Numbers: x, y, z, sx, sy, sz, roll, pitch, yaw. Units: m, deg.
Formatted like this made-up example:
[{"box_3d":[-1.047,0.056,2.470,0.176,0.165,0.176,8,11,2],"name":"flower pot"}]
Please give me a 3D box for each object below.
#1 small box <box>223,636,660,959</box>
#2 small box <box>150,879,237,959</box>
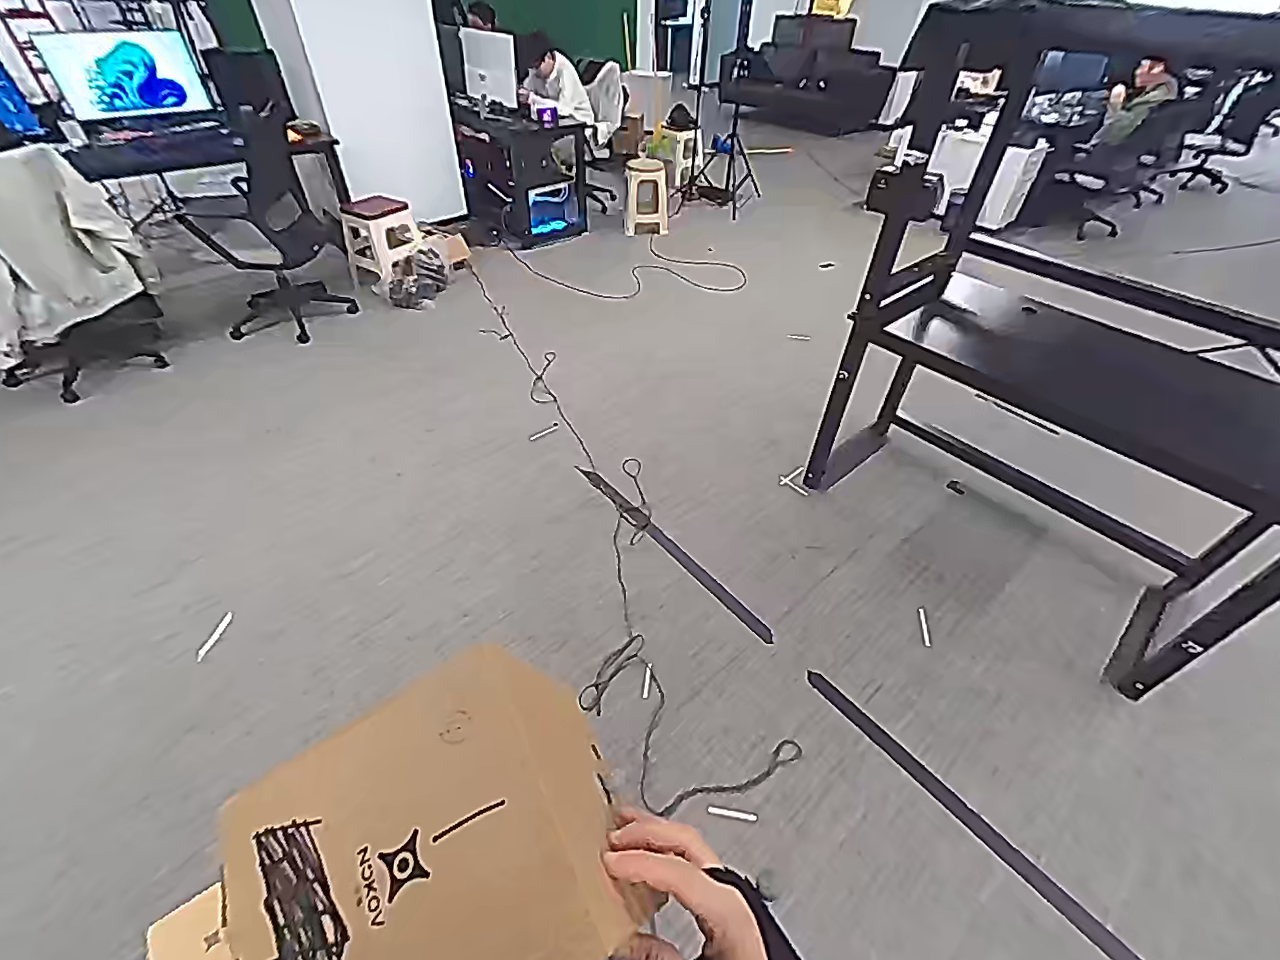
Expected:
[{"box_3d":[-0.108,0.232,0.339,0.179,0.176,0.168,-32,59,-6],"name":"small box"},{"box_3d":[-0.689,0.809,0.934,0.179,0.176,0.168,-27,50,-29],"name":"small box"}]
